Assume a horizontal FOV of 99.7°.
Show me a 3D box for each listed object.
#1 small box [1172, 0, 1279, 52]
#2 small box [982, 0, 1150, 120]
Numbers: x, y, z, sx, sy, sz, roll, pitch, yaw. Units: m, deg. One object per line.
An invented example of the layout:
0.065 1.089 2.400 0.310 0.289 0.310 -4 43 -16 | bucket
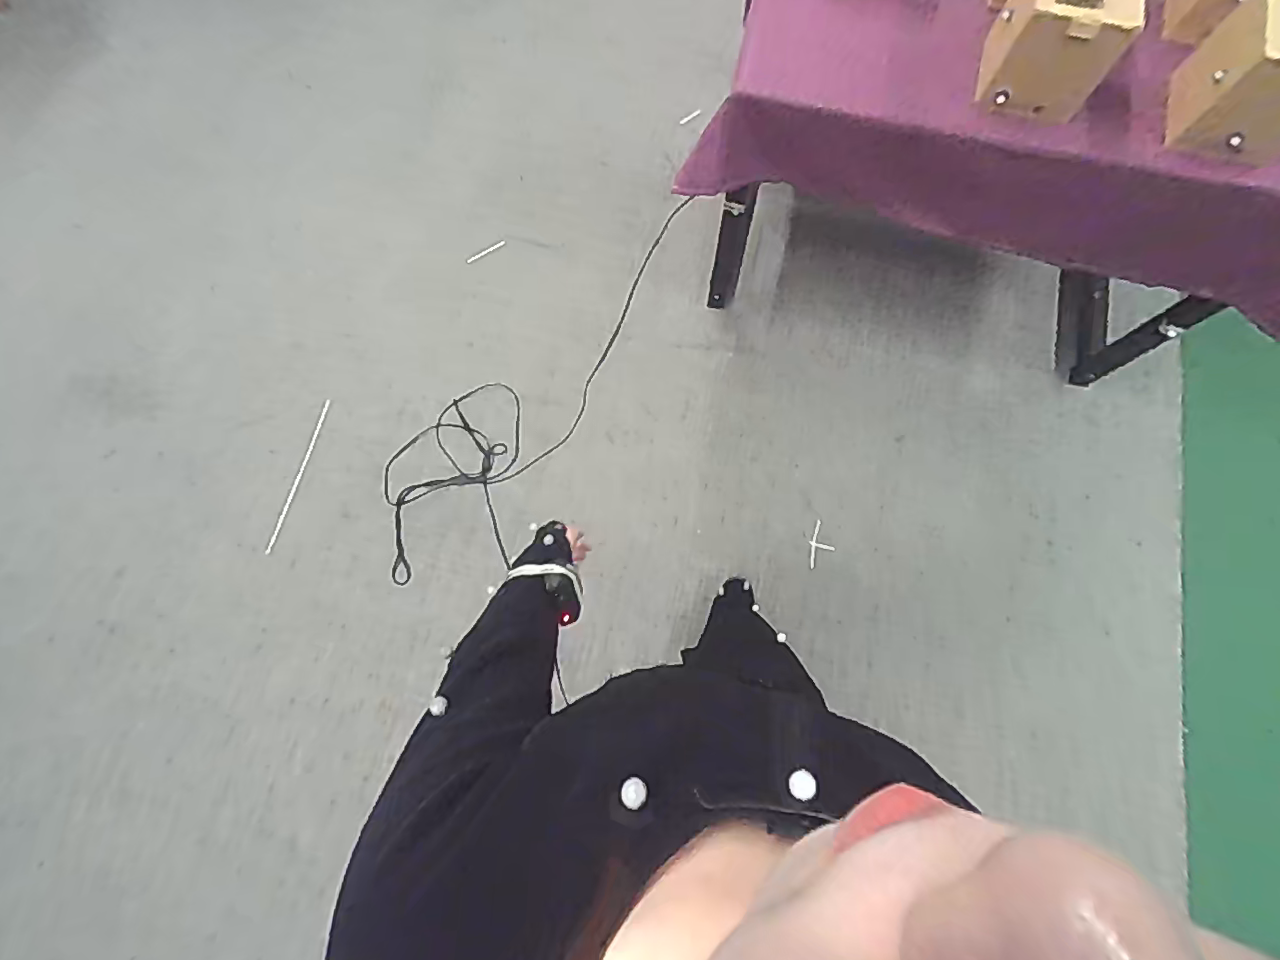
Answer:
1.108 -0.915 0.963 0.168 0.176 0.179 17 75 7 | small box
0.724 -0.768 0.933 0.168 0.176 0.179 16 75 6 | small box
